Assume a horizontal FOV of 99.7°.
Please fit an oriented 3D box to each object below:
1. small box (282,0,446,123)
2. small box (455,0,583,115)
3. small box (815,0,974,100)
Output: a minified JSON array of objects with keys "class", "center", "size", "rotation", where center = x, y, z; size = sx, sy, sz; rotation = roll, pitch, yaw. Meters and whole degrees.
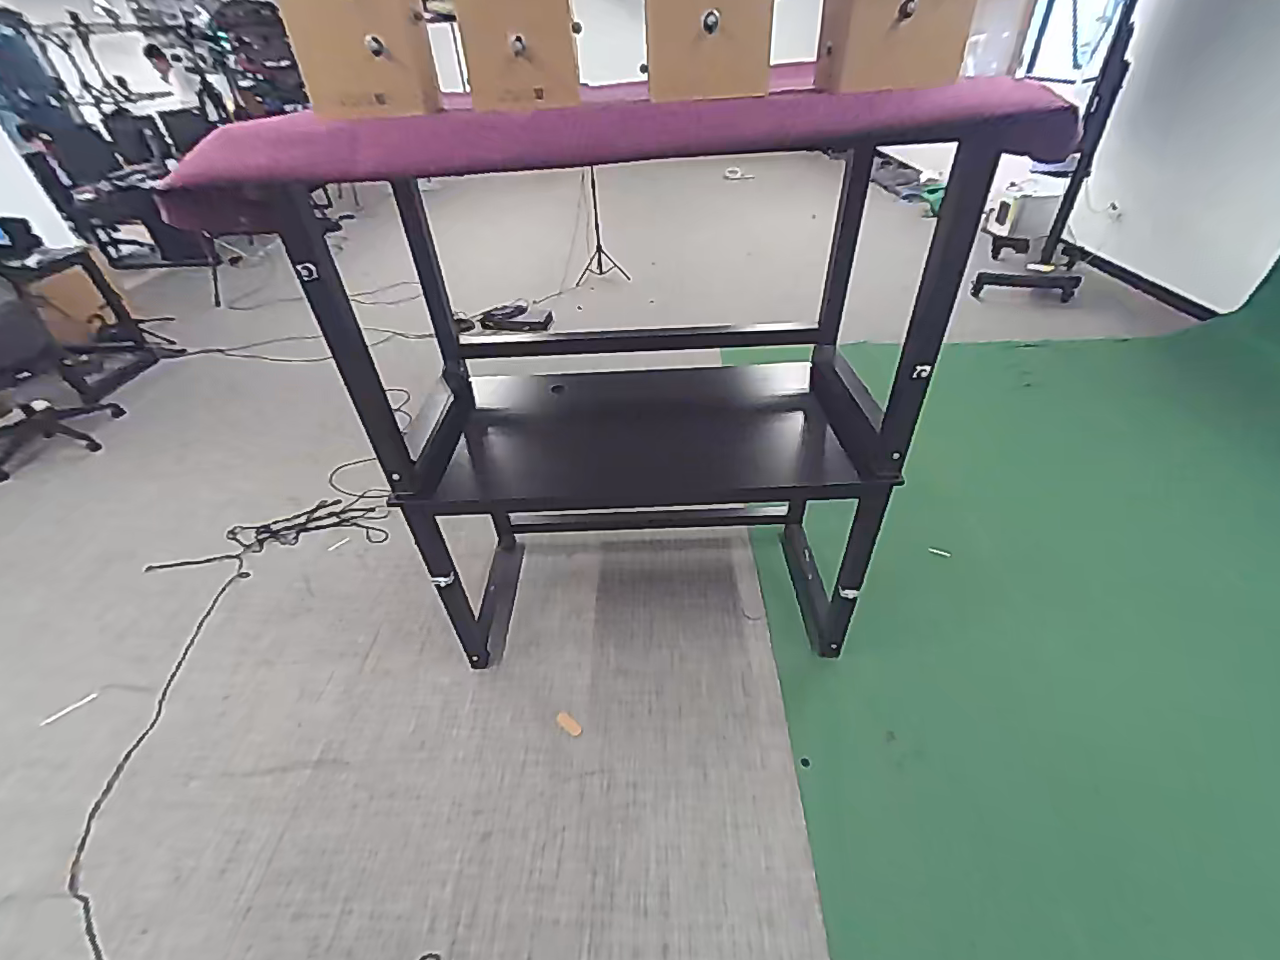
[{"class":"small box","center":[-0.421,-0.673,0.858],"size":[0.168,0.176,0.179],"rotation":[-5,37,-3]},{"class":"small box","center":[-0.180,-0.689,0.861],"size":[0.168,0.176,0.179],"rotation":[-4,38,-2]},{"class":"small box","center":[0.381,-0.692,0.820],"size":[0.179,0.176,0.168],"rotation":[-3,38,3]}]
